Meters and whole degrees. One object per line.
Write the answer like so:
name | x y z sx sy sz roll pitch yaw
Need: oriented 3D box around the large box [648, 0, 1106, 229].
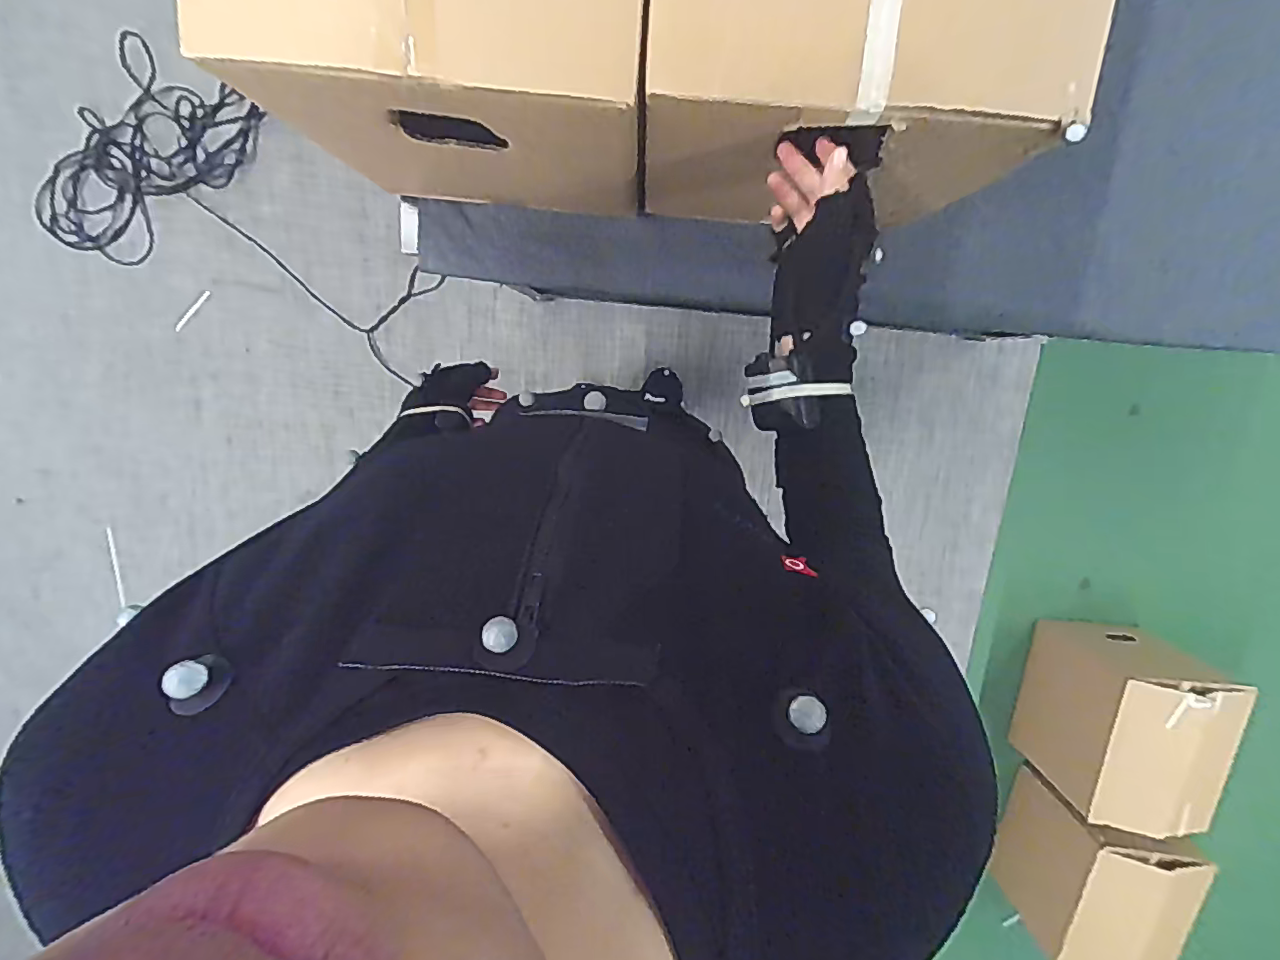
large box | 0.173 -0.482 0.484 0.320 0.320 0.408 4 103 1
